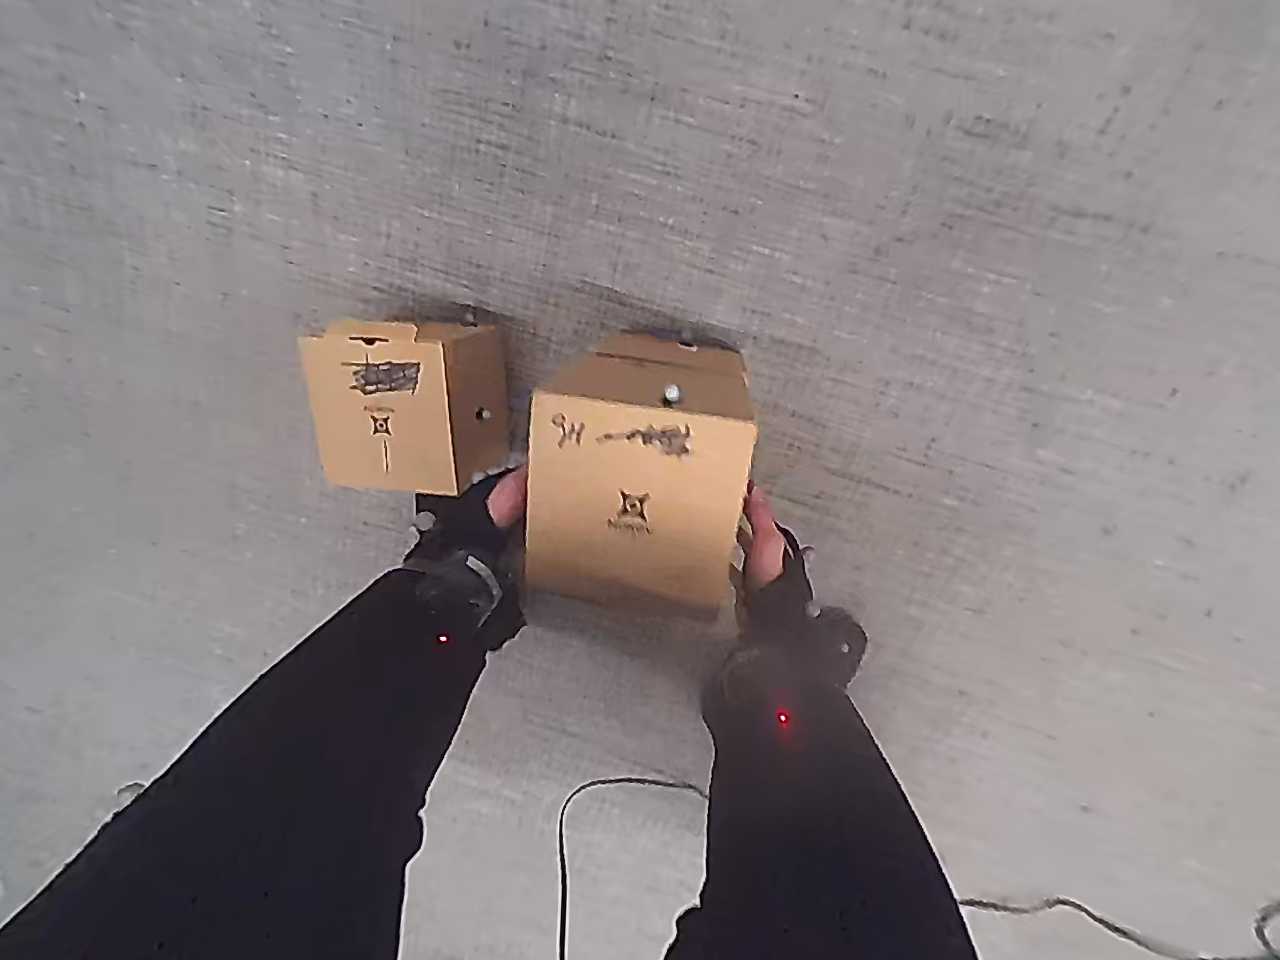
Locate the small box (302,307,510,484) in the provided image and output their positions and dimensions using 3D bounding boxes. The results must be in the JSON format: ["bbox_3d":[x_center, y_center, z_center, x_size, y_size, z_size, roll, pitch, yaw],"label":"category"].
[{"bbox_3d":[-0.270,-0.114,0.668,0.168,0.176,0.179,6,114,7],"label":"small box"}]

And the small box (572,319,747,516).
[{"bbox_3d":[0.026,-0.082,0.636,0.168,0.176,0.179,10,112,4],"label":"small box"}]
